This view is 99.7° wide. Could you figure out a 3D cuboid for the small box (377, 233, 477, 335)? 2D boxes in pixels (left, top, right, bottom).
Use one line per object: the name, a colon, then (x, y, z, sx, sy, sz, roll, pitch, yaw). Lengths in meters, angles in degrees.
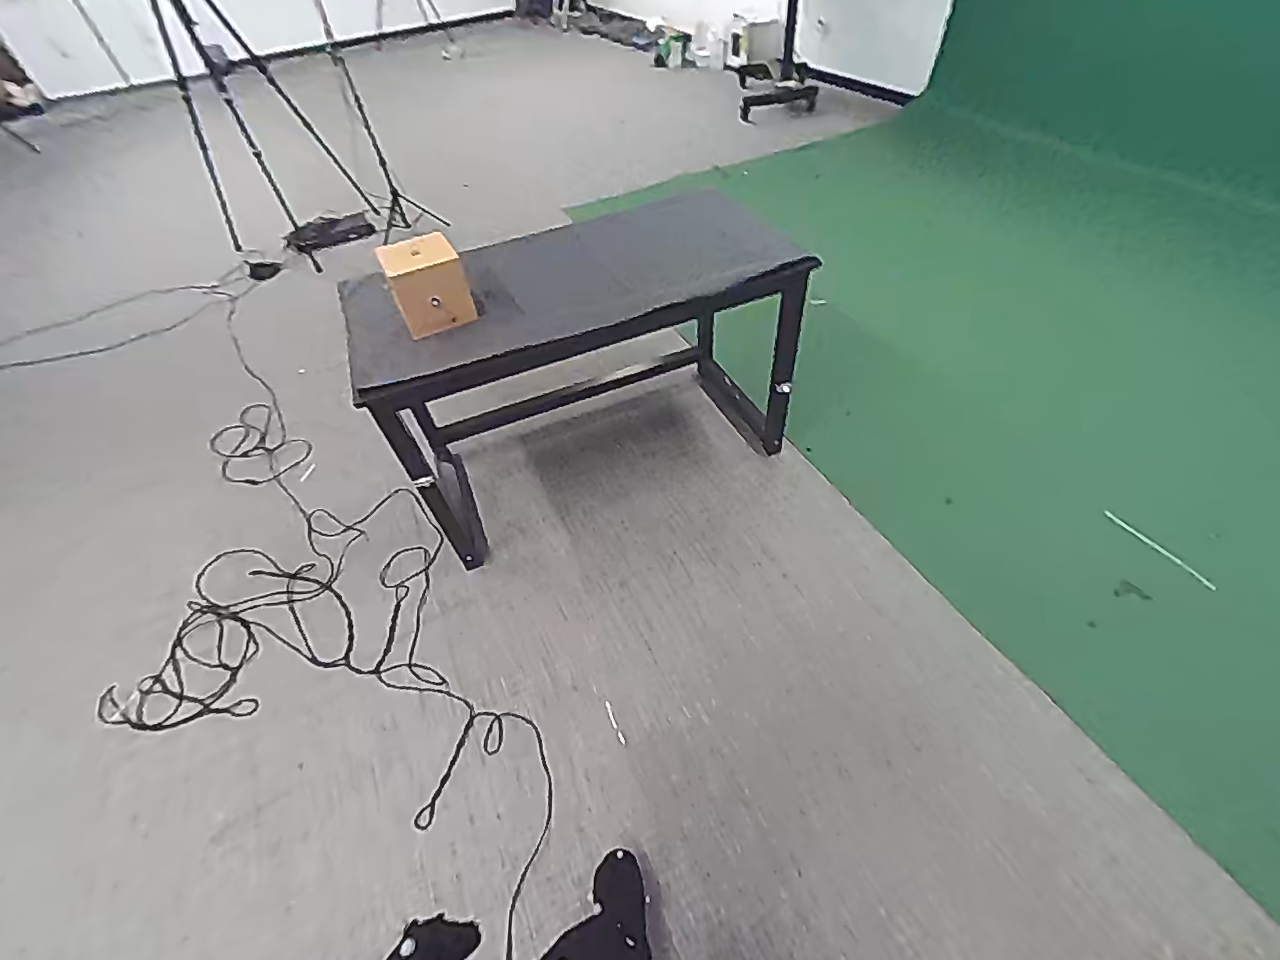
small box: (-0.523, -0.479, 1.341, 0.168, 0.176, 0.179, -24, 50, -17)
